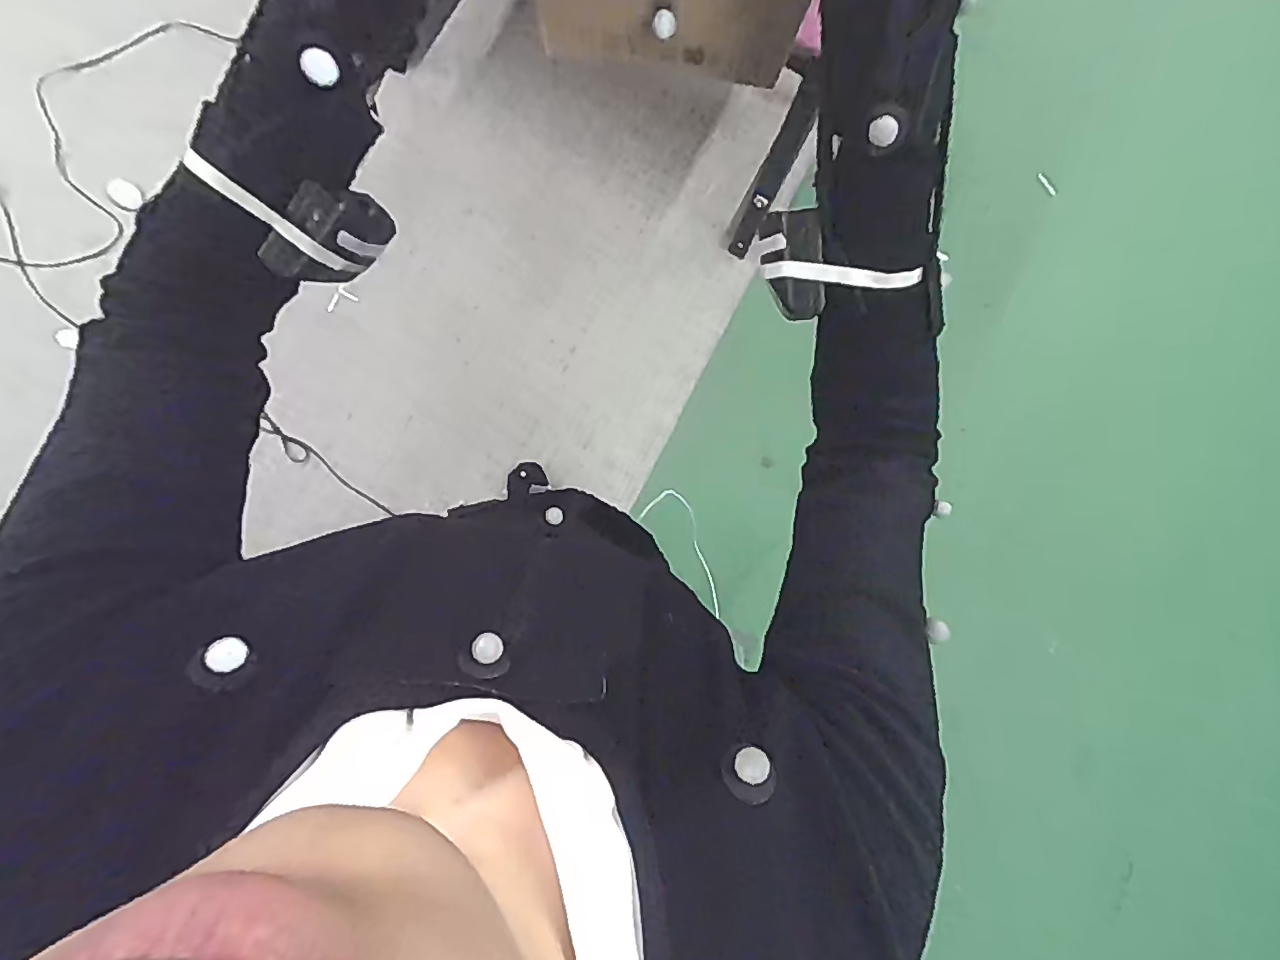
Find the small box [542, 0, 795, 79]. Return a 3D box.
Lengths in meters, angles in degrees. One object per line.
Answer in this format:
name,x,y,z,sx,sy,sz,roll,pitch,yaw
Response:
small box,0.025,-0.378,0.300,0.168,0.176,0.179,8,93,-2
